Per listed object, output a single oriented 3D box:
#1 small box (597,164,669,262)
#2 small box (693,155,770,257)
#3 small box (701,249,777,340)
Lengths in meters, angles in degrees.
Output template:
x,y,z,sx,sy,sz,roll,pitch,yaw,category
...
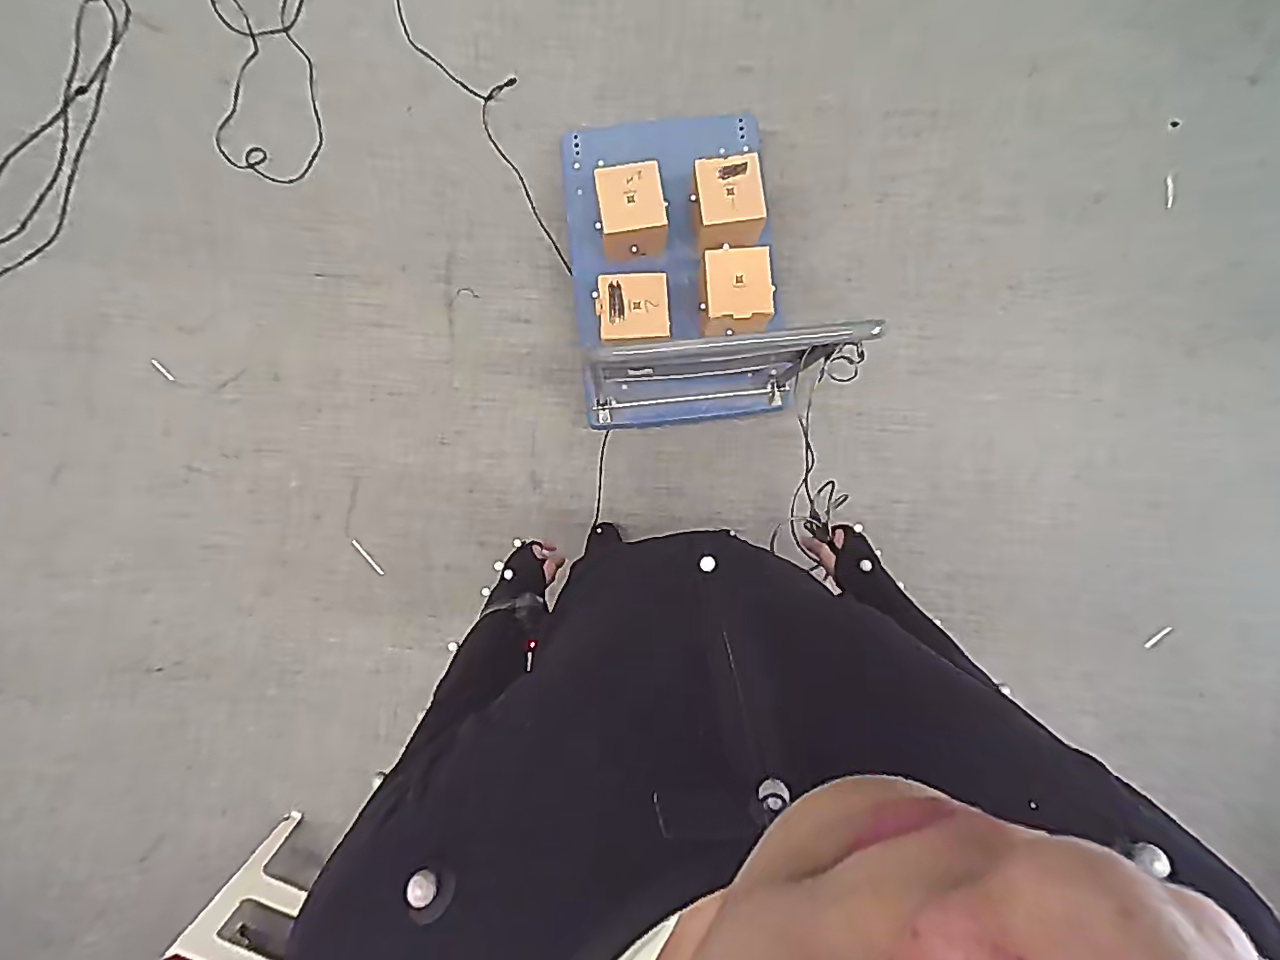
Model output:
x,y,z,sx,sy,sz,roll,pitch,yaw,category
-0.017,-0.705,1.451,0.168,0.176,0.179,-9,86,-1,small box
0.239,-0.728,1.451,0.168,0.176,0.179,-8,87,1,small box
0.257,-0.487,1.436,0.168,0.176,0.179,-4,86,0,small box
